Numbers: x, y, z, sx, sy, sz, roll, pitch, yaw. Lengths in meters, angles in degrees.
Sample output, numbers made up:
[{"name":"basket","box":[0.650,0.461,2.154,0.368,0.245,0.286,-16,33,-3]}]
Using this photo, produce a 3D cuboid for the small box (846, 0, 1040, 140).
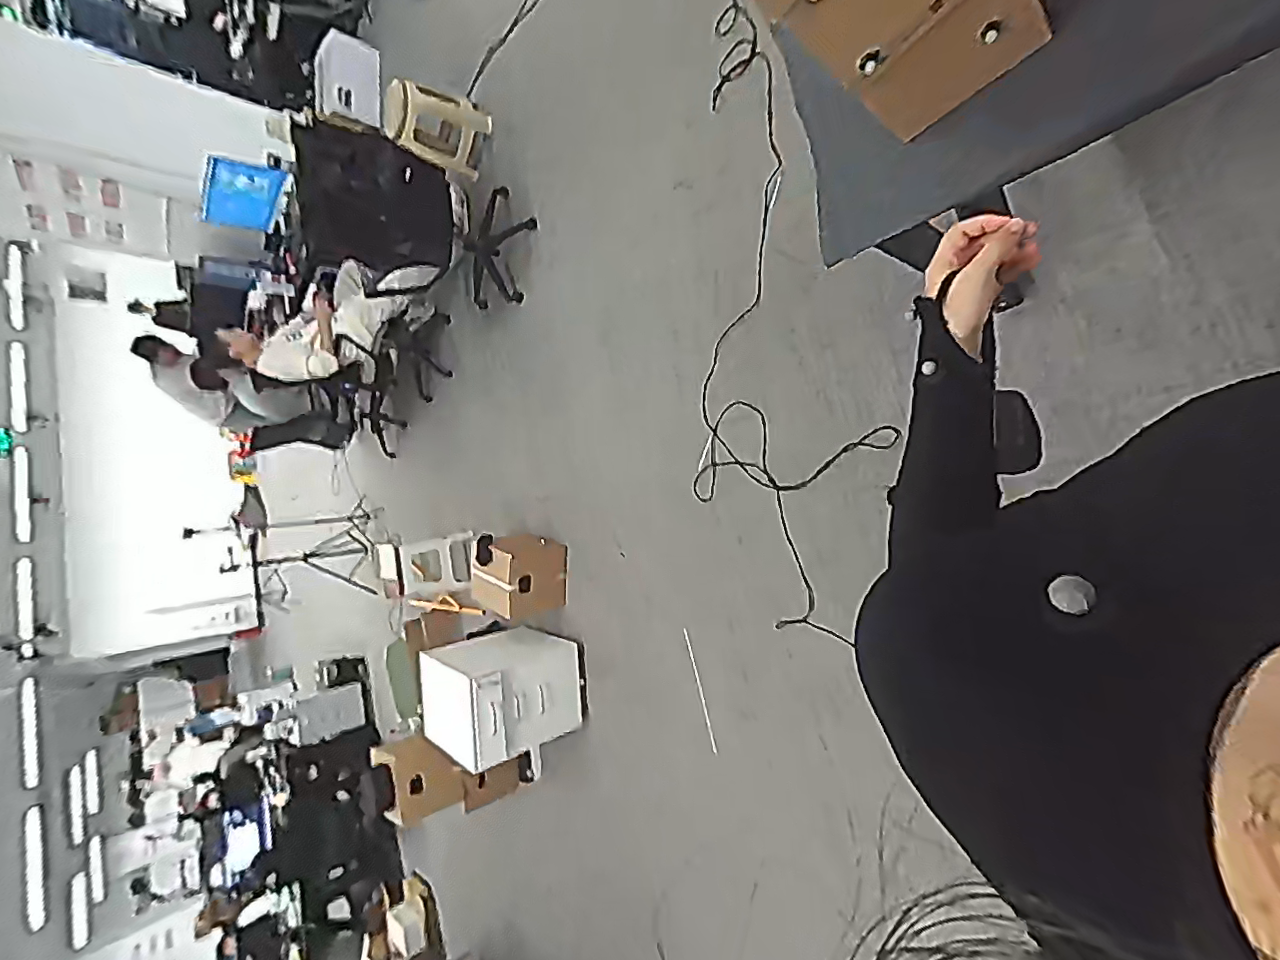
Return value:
[{"name":"small box","box":[0.350,-0.565,0.652,0.179,0.176,0.168,-25,73,47]}]

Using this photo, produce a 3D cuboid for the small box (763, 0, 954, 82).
[{"name":"small box","box":[0.222,-0.555,0.549,0.168,0.176,0.179,-29,69,44]}]
